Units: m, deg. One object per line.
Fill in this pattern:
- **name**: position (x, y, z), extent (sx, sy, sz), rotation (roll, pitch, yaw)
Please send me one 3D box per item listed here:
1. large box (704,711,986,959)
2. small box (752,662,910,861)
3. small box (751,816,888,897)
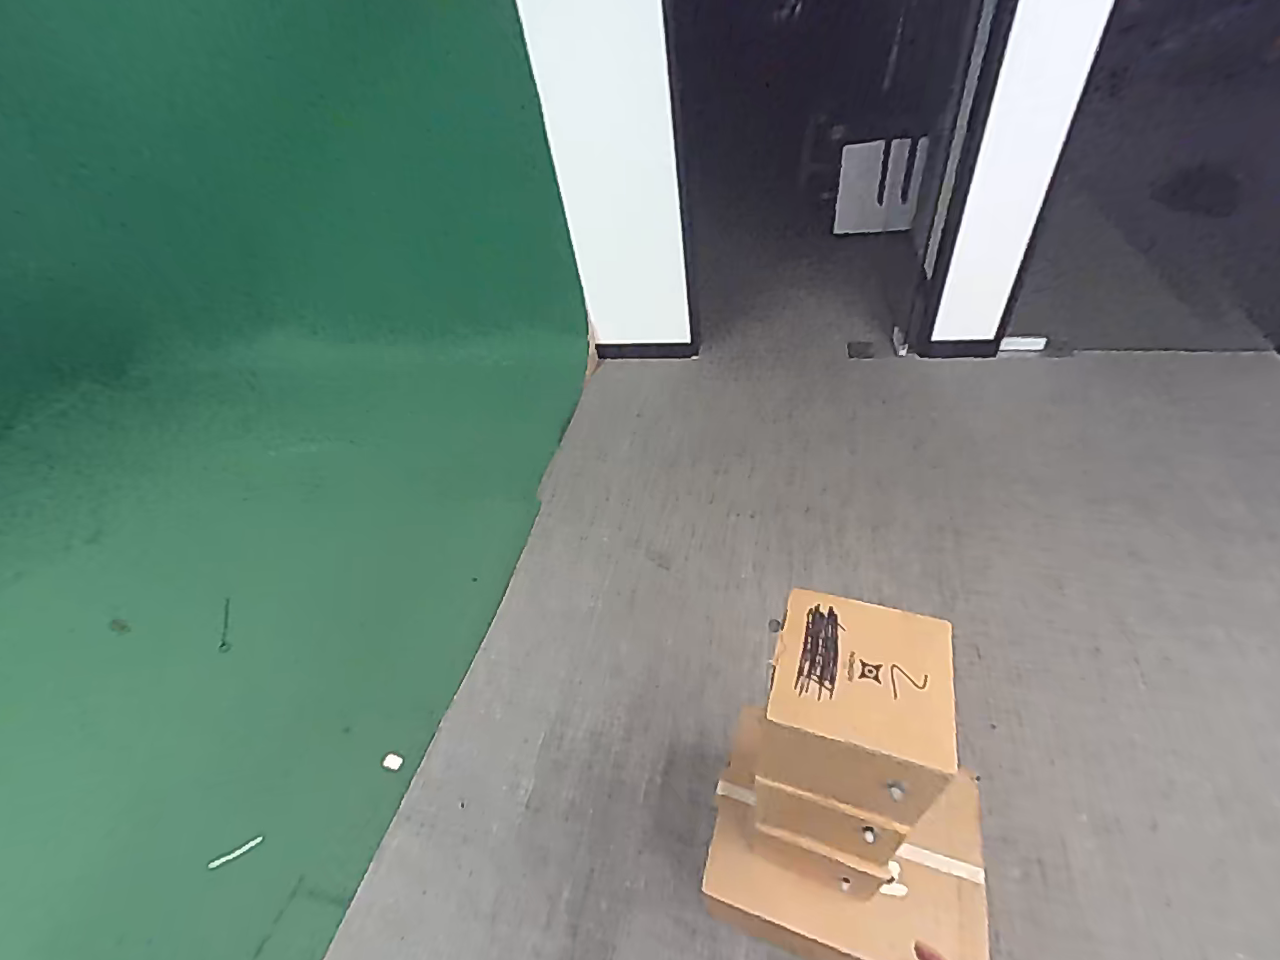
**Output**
- **large box**: position (0.346, 0.679, 0.986), extent (0.408, 0.320, 0.320), rotation (9, 48, 18)
- **small box**: position (0.252, 0.378, 0.729), extent (0.179, 0.176, 0.168), rotation (9, 46, 19)
- **small box**: position (0.274, 0.506, 0.828), extent (0.179, 0.176, 0.168), rotation (9, 46, 20)
